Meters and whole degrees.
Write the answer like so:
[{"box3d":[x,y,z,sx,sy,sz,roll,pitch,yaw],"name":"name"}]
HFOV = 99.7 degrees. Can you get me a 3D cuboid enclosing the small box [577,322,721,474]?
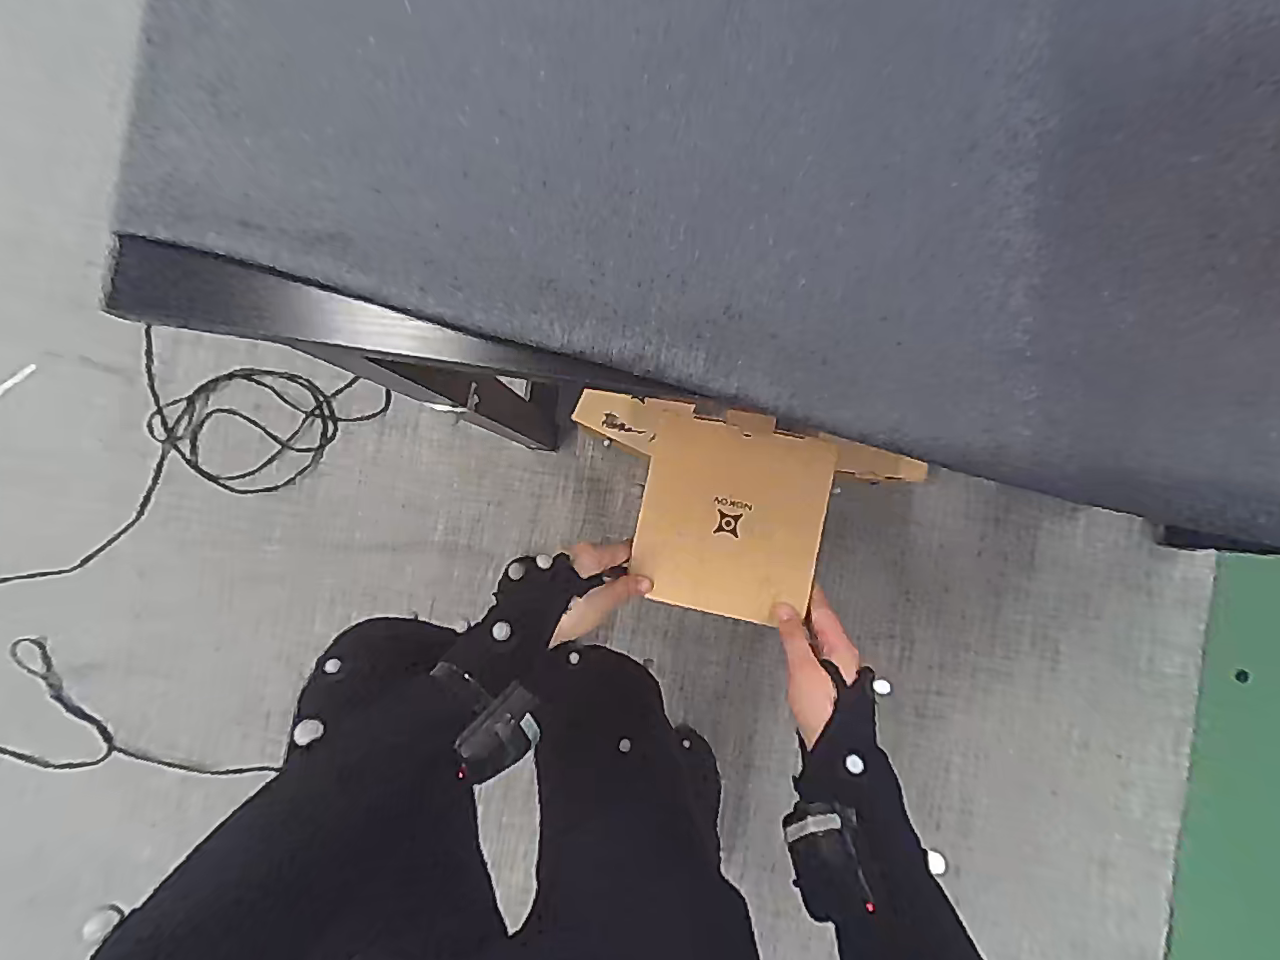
[{"box3d":[0.015,-0.124,0.893,0.168,0.176,0.179,26,88,4],"name":"small box"}]
